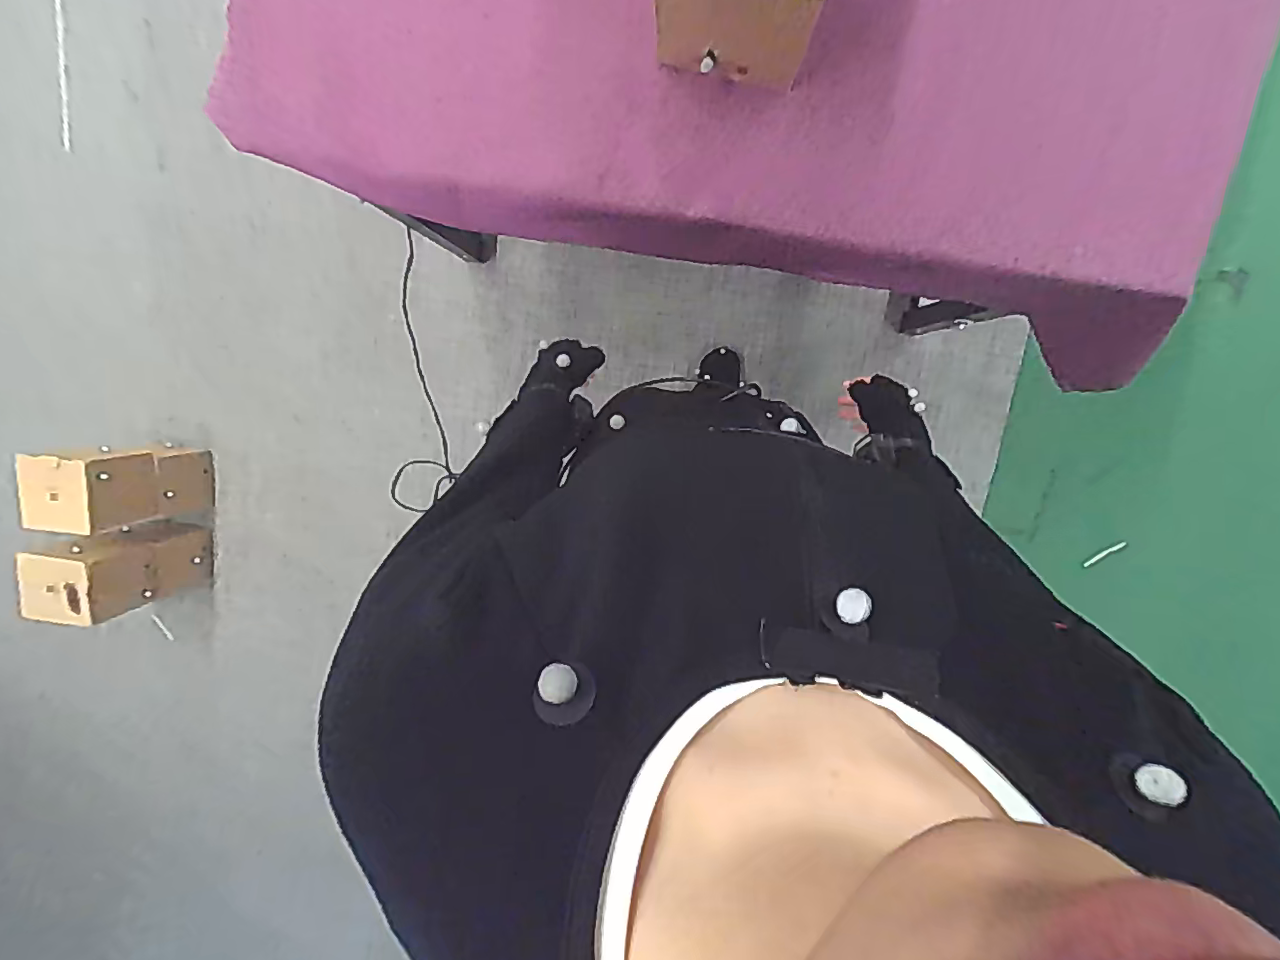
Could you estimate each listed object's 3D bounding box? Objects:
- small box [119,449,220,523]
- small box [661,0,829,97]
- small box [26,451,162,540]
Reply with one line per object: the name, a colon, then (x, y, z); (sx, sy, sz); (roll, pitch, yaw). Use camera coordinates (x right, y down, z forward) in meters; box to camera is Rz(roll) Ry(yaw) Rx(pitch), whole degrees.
small box: (-1.296, 0.010, 1.471); (0.179, 0.176, 0.168); (7, 100, 3)
small box: (0.116, -0.544, 0.555); (0.168, 0.176, 0.179); (14, 101, 2)
small box: (-1.309, 0.032, 1.310); (0.168, 0.176, 0.179); (5, 99, 2)
